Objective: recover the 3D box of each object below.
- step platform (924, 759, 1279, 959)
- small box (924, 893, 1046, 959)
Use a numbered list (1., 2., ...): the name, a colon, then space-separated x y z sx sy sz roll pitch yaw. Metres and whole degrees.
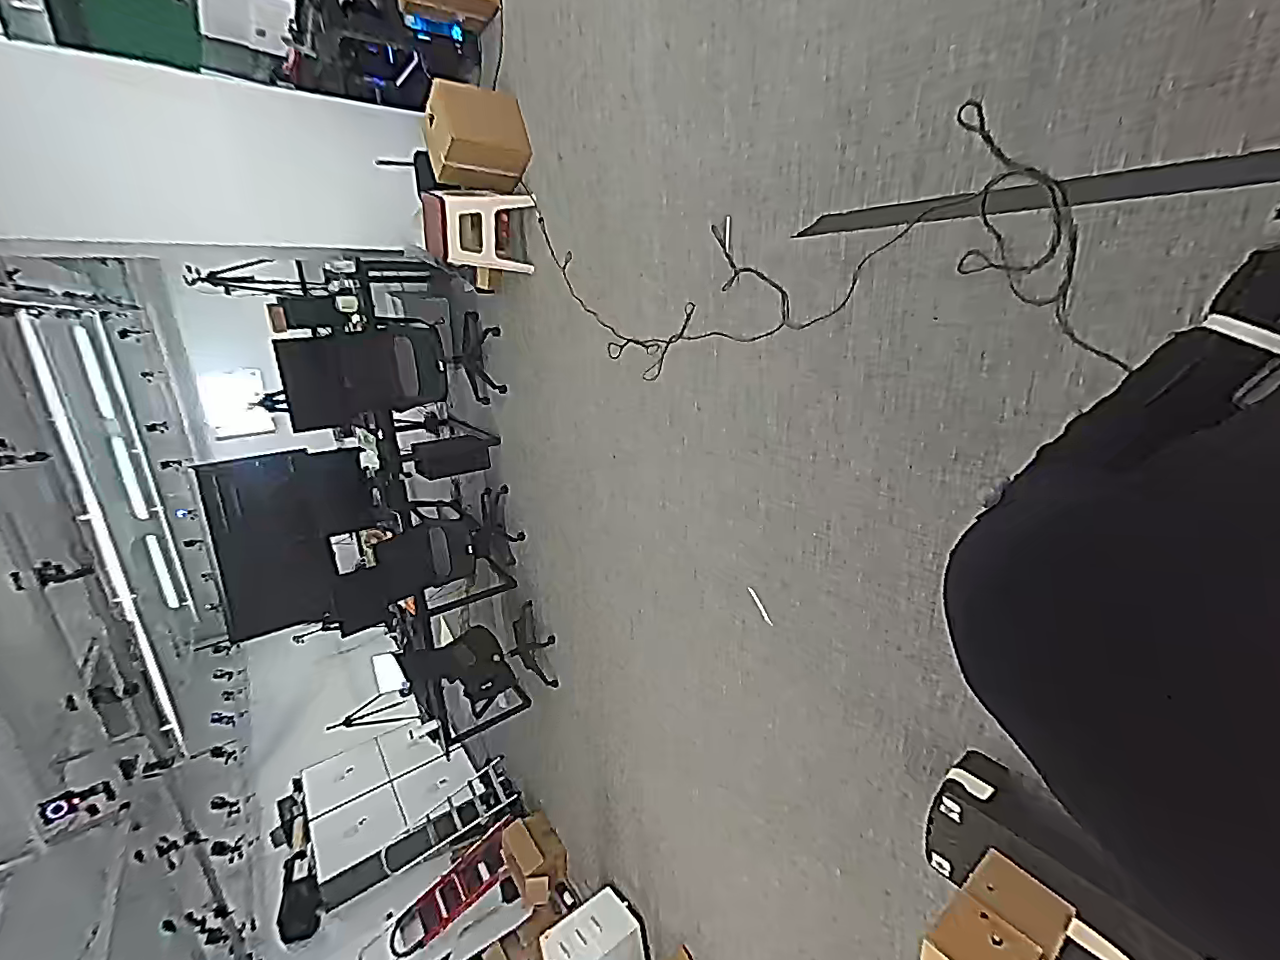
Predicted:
1. step platform: 1.035 0.993 1.252 0.684 0.204 0.286 20 119 50
2. small box: 0.714 1.032 1.126 0.168 0.176 0.179 18 116 52
